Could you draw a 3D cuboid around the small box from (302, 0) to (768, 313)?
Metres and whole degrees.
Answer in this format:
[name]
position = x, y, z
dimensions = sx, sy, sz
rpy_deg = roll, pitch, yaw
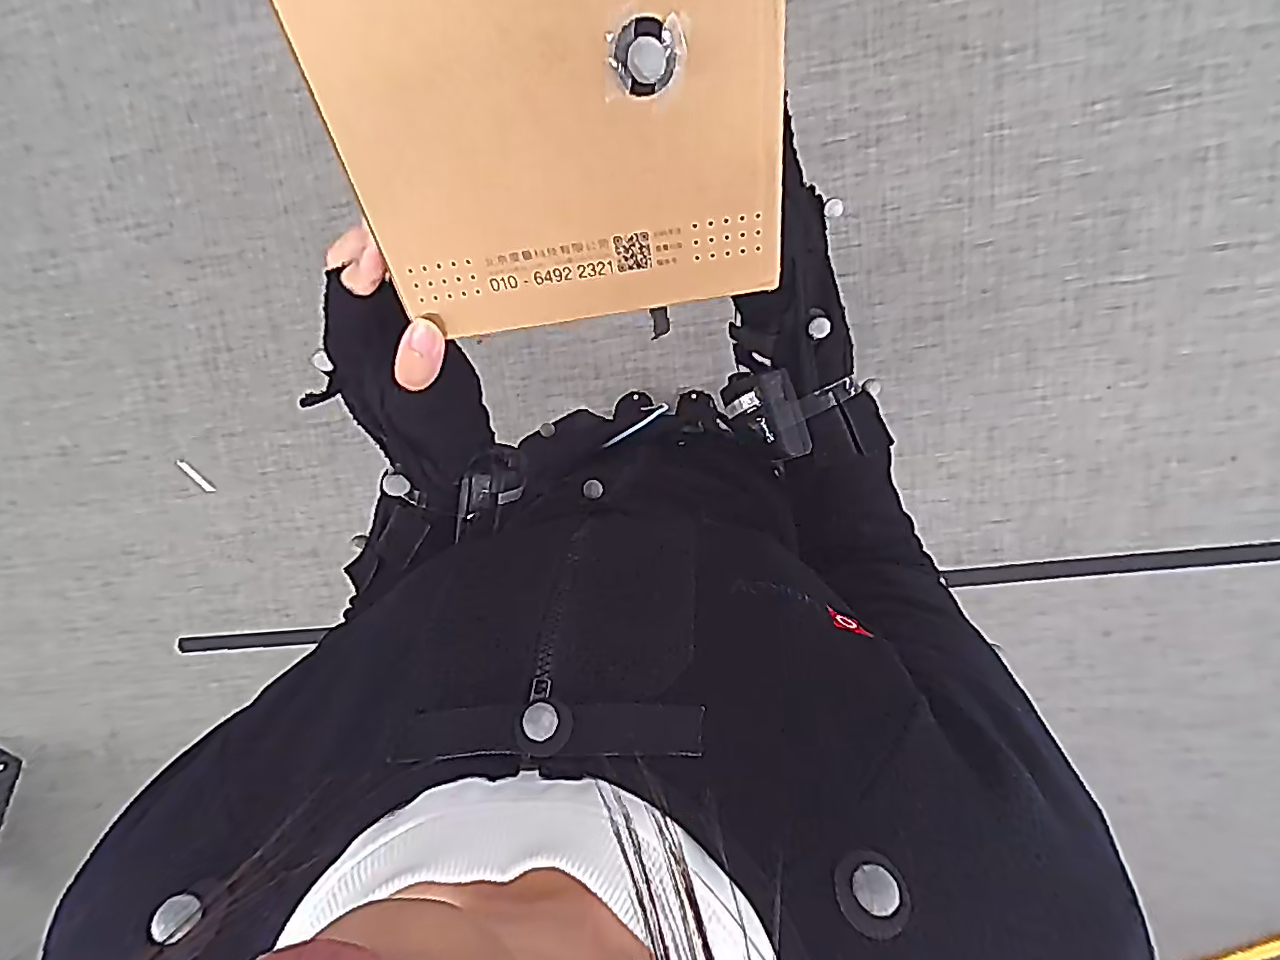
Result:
[small box]
position = -0.030, -0.194, 0.274
dimensions = 0.168, 0.179, 0.176
rpy_deg = -6, 129, 5
